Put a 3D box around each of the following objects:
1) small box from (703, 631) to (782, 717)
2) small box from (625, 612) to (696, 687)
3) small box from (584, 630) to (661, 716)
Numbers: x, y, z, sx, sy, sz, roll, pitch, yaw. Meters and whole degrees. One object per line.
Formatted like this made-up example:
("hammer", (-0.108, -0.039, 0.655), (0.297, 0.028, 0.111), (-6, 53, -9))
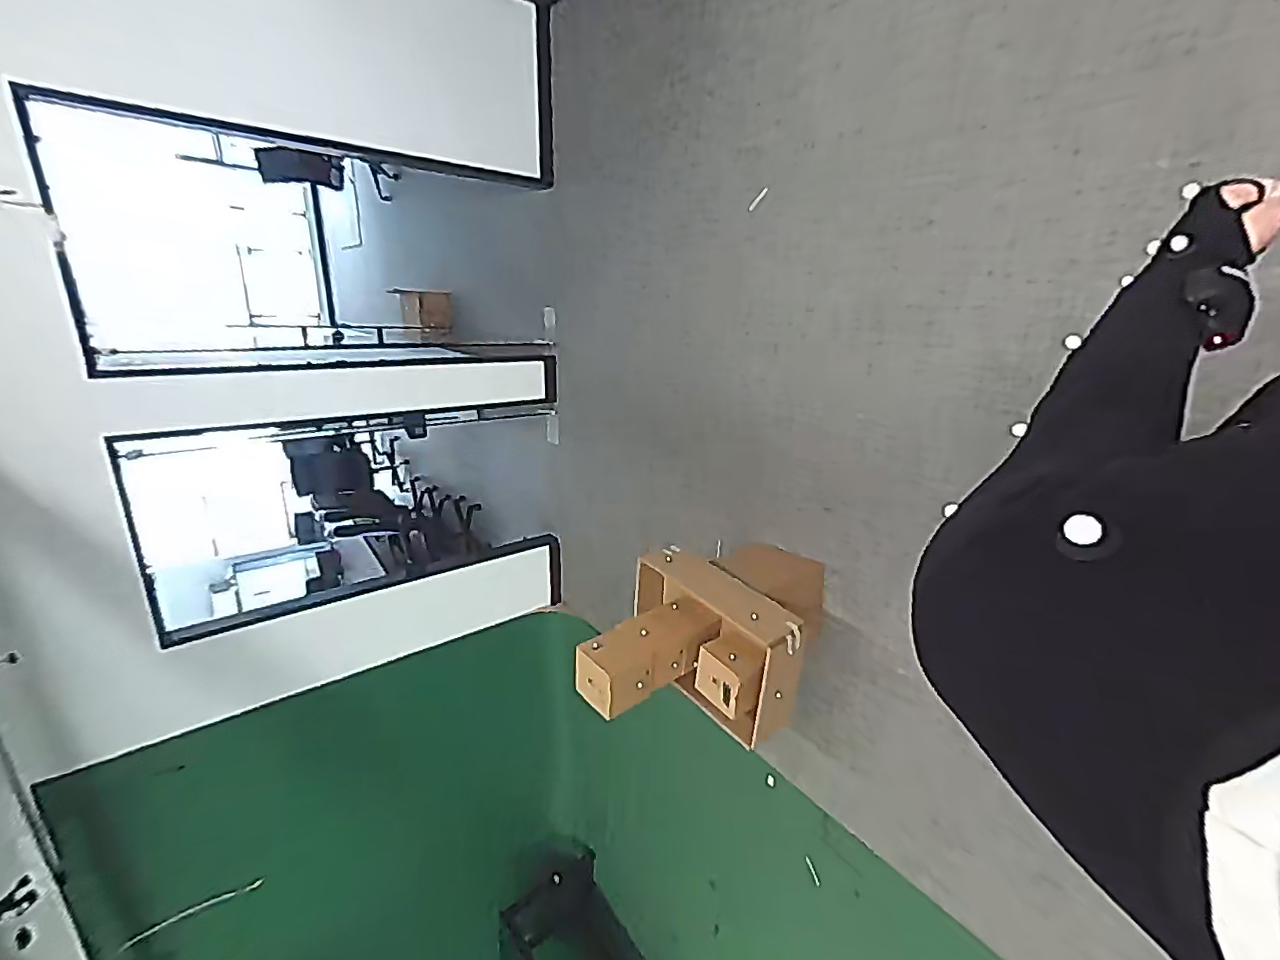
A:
("small box", (0.327, 0.610, 1.724), (0.179, 0.176, 0.168), (29, 122, 48))
("small box", (0.061, 0.559, 1.801), (0.179, 0.176, 0.168), (25, 119, 45))
("small box", (-0.058, 0.592, 1.691), (0.179, 0.176, 0.168), (23, 118, 46))
